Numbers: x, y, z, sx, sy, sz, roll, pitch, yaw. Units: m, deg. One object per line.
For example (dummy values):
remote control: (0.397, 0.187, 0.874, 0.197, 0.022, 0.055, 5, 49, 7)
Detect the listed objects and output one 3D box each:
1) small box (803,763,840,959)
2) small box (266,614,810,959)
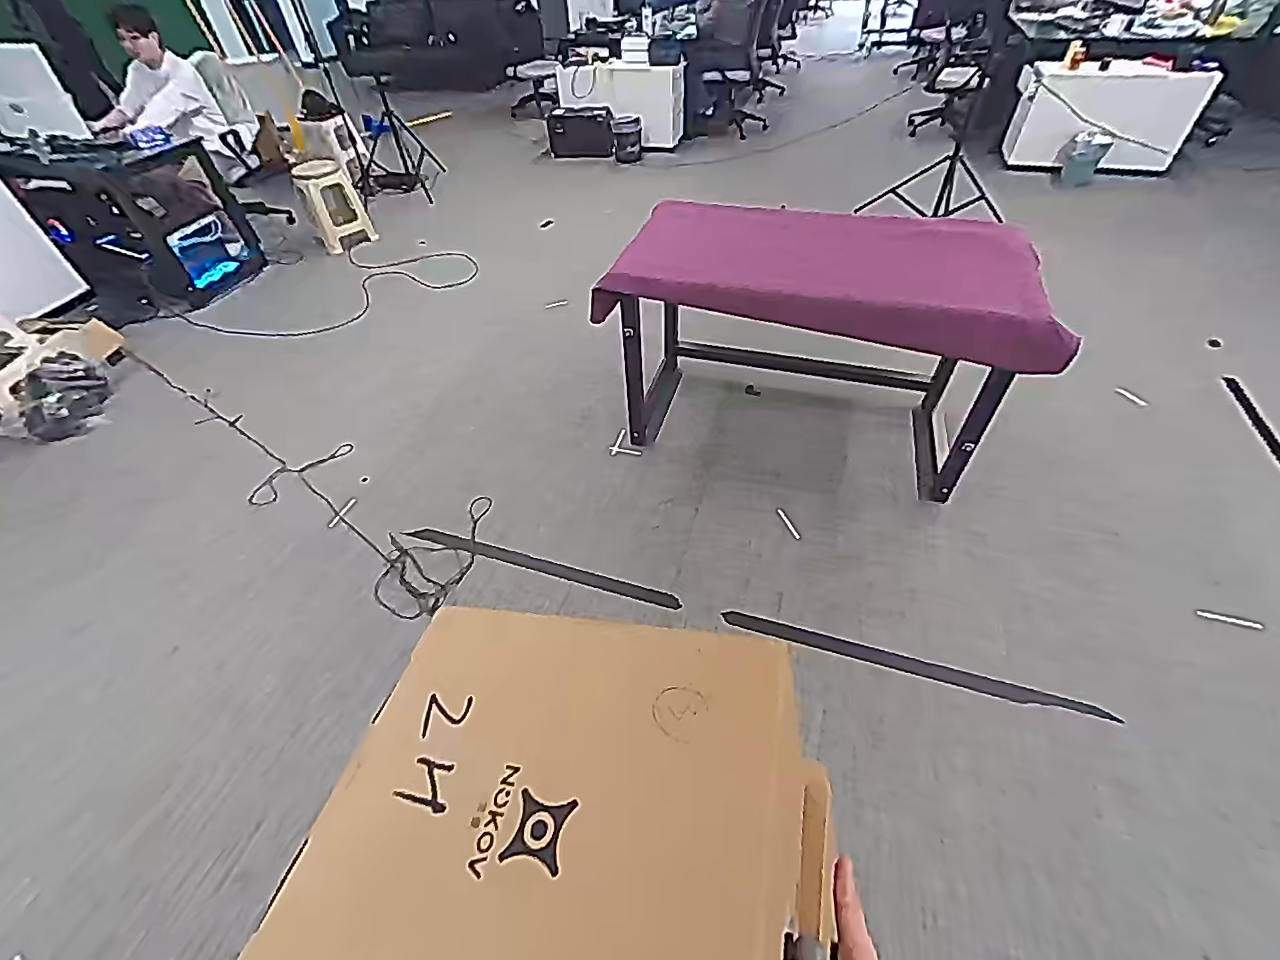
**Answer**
small box: (0.040, 0.294, 0.360, 0.168, 0.176, 0.179, 2, 46, 21)
small box: (-0.016, 0.184, 0.250, 0.179, 0.176, 0.168, 0, 45, 20)
